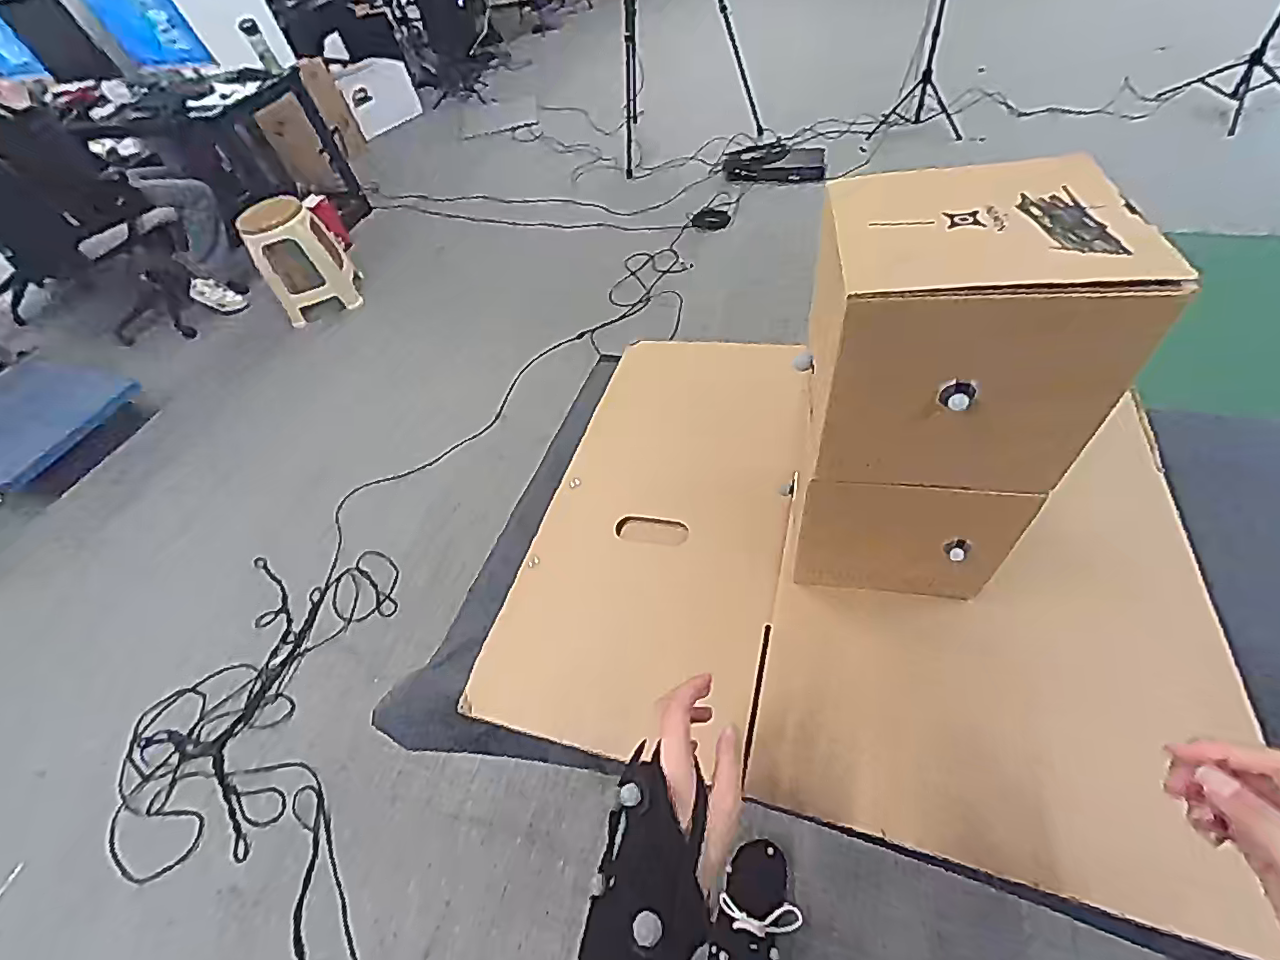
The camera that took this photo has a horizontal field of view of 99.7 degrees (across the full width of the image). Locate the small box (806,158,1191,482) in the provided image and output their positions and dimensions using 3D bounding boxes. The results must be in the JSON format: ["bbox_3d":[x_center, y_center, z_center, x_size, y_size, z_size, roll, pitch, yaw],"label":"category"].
[{"bbox_3d":[0.225,-0.112,0.405,0.179,0.176,0.168,2,50,12],"label":"small box"}]

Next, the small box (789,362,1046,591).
[{"bbox_3d":[0.244,-0.006,0.530,0.179,0.176,0.168,3,50,13],"label":"small box"}]
